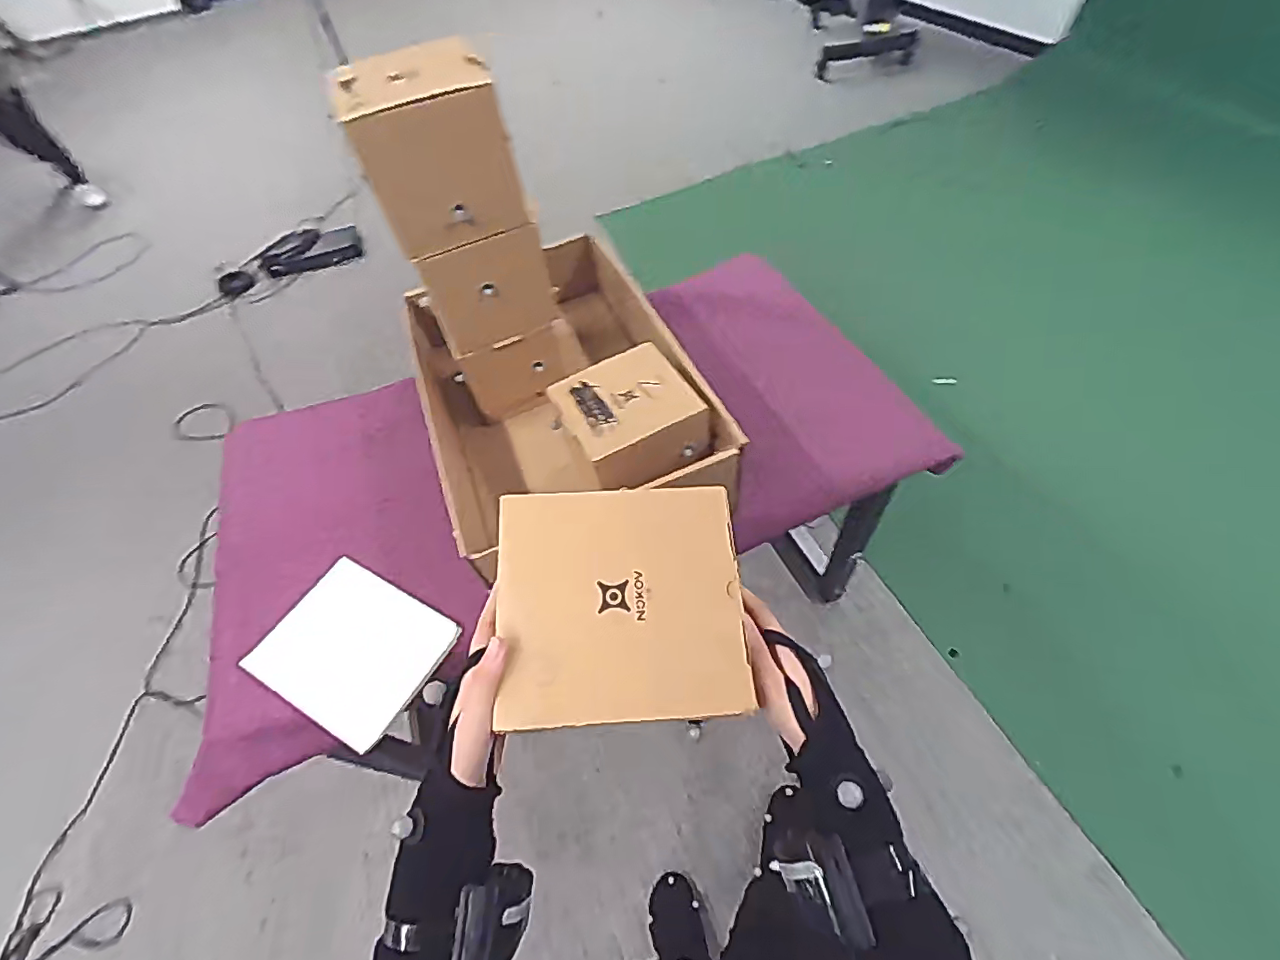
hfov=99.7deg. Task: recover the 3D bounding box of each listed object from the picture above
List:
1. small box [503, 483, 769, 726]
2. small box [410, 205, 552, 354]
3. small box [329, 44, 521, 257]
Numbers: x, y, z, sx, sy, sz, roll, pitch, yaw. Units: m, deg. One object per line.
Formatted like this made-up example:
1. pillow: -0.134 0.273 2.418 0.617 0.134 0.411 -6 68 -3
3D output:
1. small box: -0.009 0.112 0.454 0.179 0.176 0.168 -1 66 -5
2. small box: -0.247 -0.327 0.832 0.179 0.176 0.168 -24 56 -10
3. small box: -0.265 -0.421 0.699 0.179 0.176 0.168 -22 56 -10
